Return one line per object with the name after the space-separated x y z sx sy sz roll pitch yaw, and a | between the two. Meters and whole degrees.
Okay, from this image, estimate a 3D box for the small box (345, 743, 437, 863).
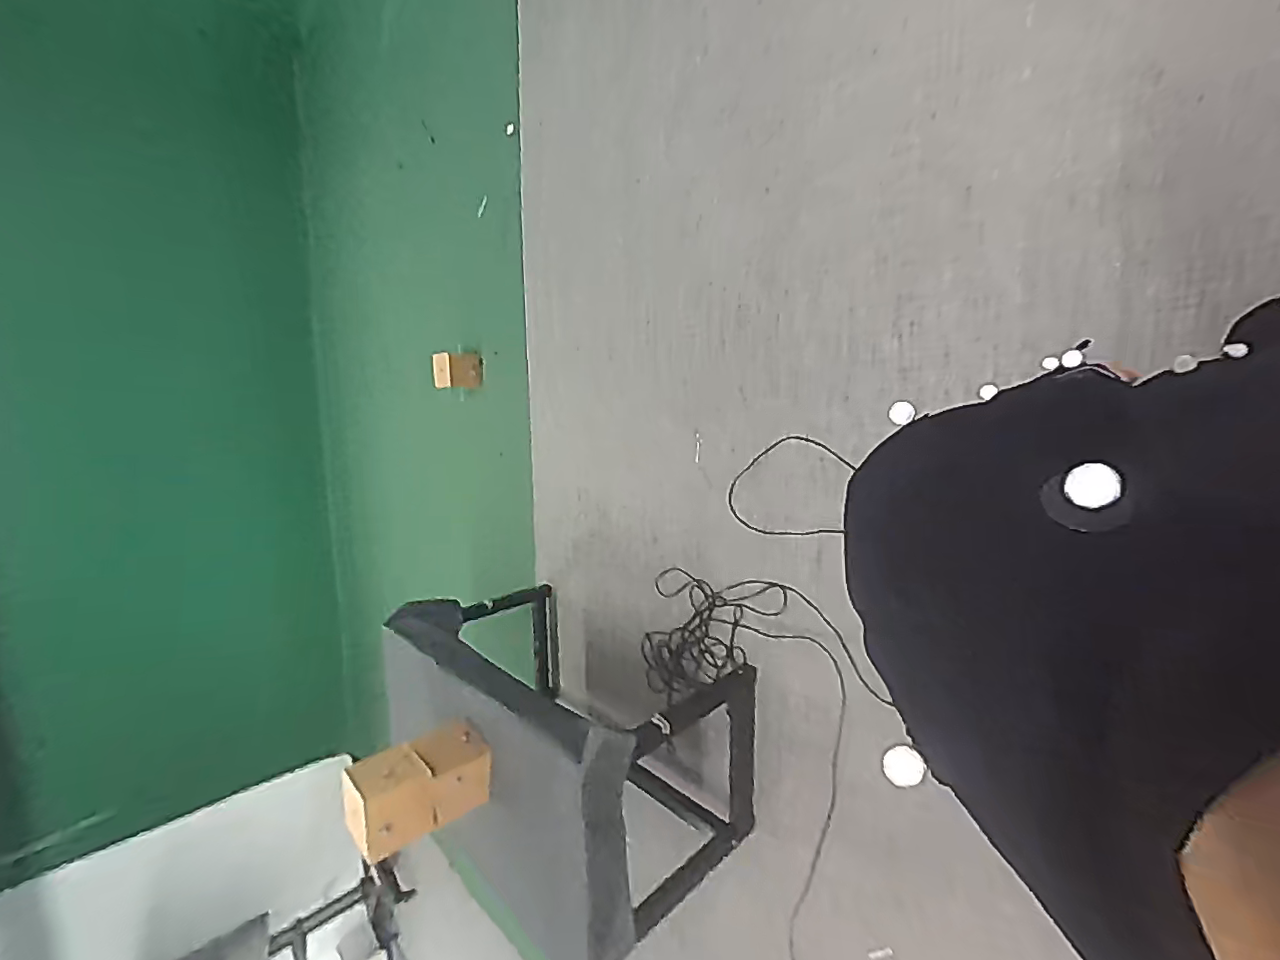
-0.643 0.824 1.404 0.168 0.176 0.179 10 104 44 | small box

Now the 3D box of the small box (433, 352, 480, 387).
-0.937 -0.563 2.768 0.179 0.176 0.168 6 102 44 | small box
